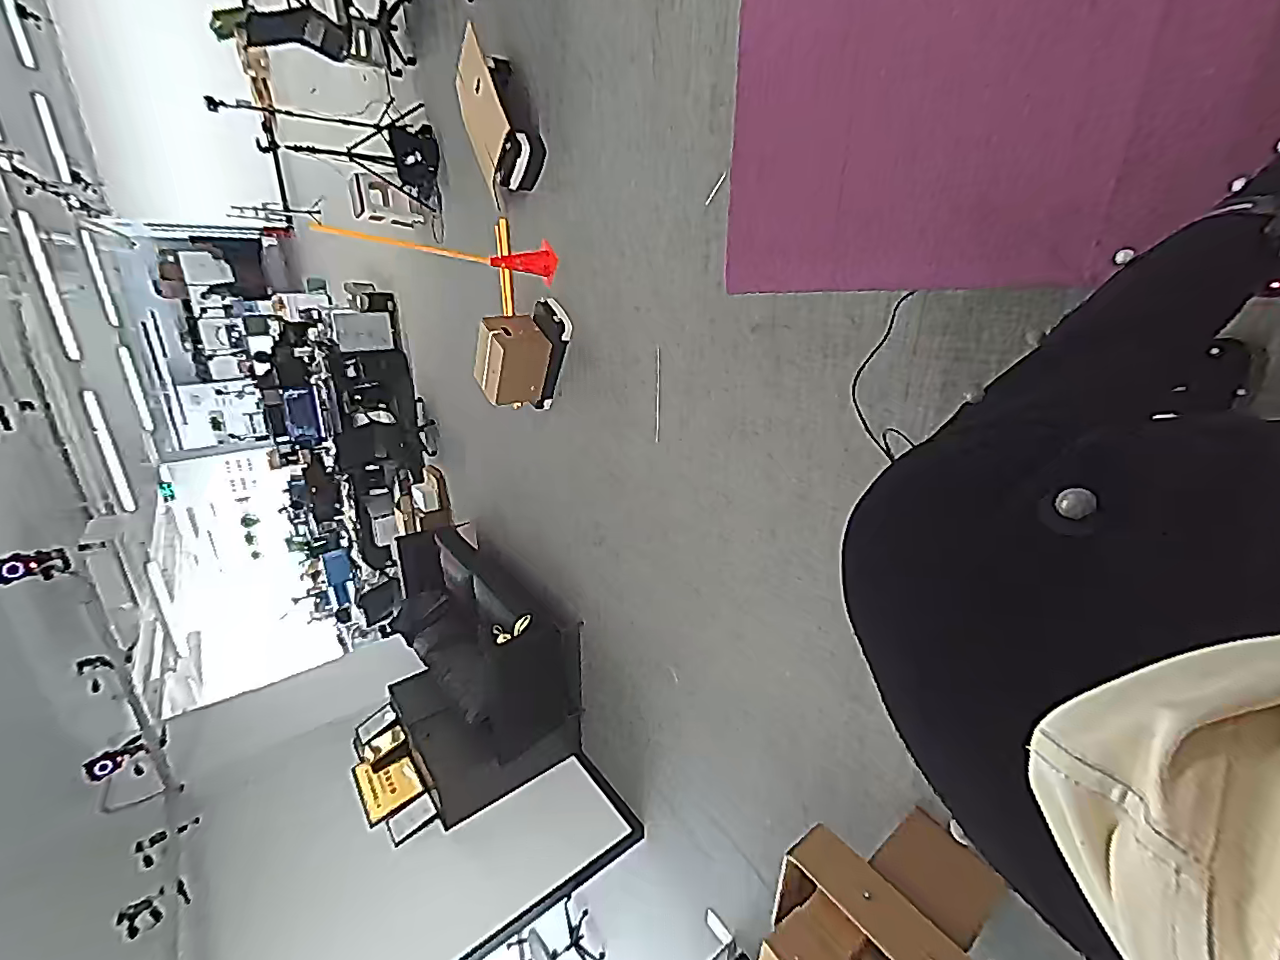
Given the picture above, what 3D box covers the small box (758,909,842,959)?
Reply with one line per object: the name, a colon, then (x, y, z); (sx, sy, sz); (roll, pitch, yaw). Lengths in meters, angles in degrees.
small box: (0.470, 1.435, 1.595); (0.179, 0.176, 0.168); (30, 124, 46)
